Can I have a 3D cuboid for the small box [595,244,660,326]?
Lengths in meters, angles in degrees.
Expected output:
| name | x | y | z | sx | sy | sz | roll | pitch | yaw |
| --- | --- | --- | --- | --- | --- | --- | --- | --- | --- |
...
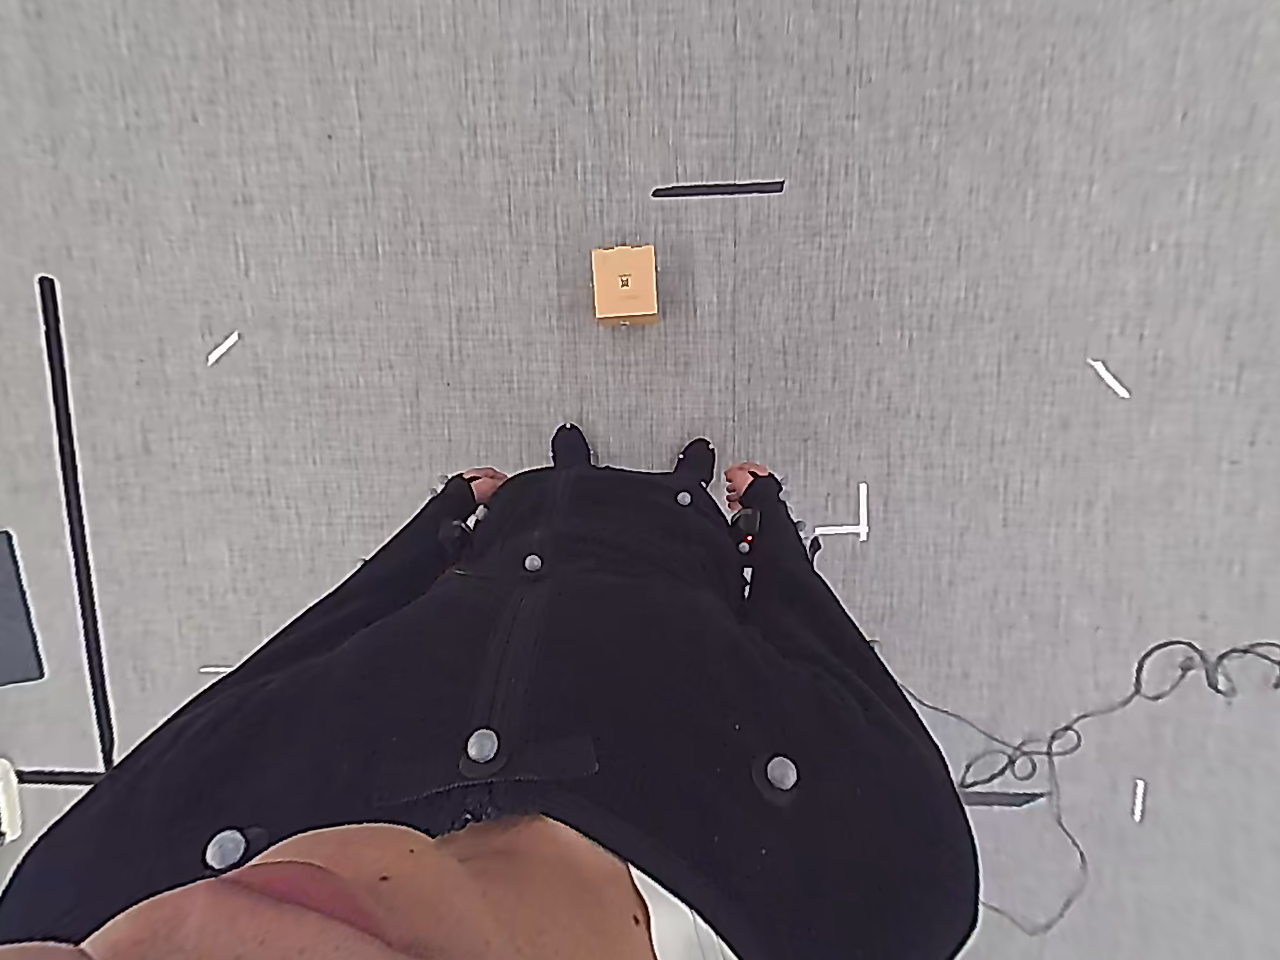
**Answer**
| name | x | y | z | sx | sy | sz | roll | pitch | yaw |
| --- | --- | --- | --- | --- | --- | --- | --- | --- | --- |
| small box | -0.031 | -0.531 | 1.489 | 0.168 | 0.176 | 0.179 | -3 | 97 | 3 |
